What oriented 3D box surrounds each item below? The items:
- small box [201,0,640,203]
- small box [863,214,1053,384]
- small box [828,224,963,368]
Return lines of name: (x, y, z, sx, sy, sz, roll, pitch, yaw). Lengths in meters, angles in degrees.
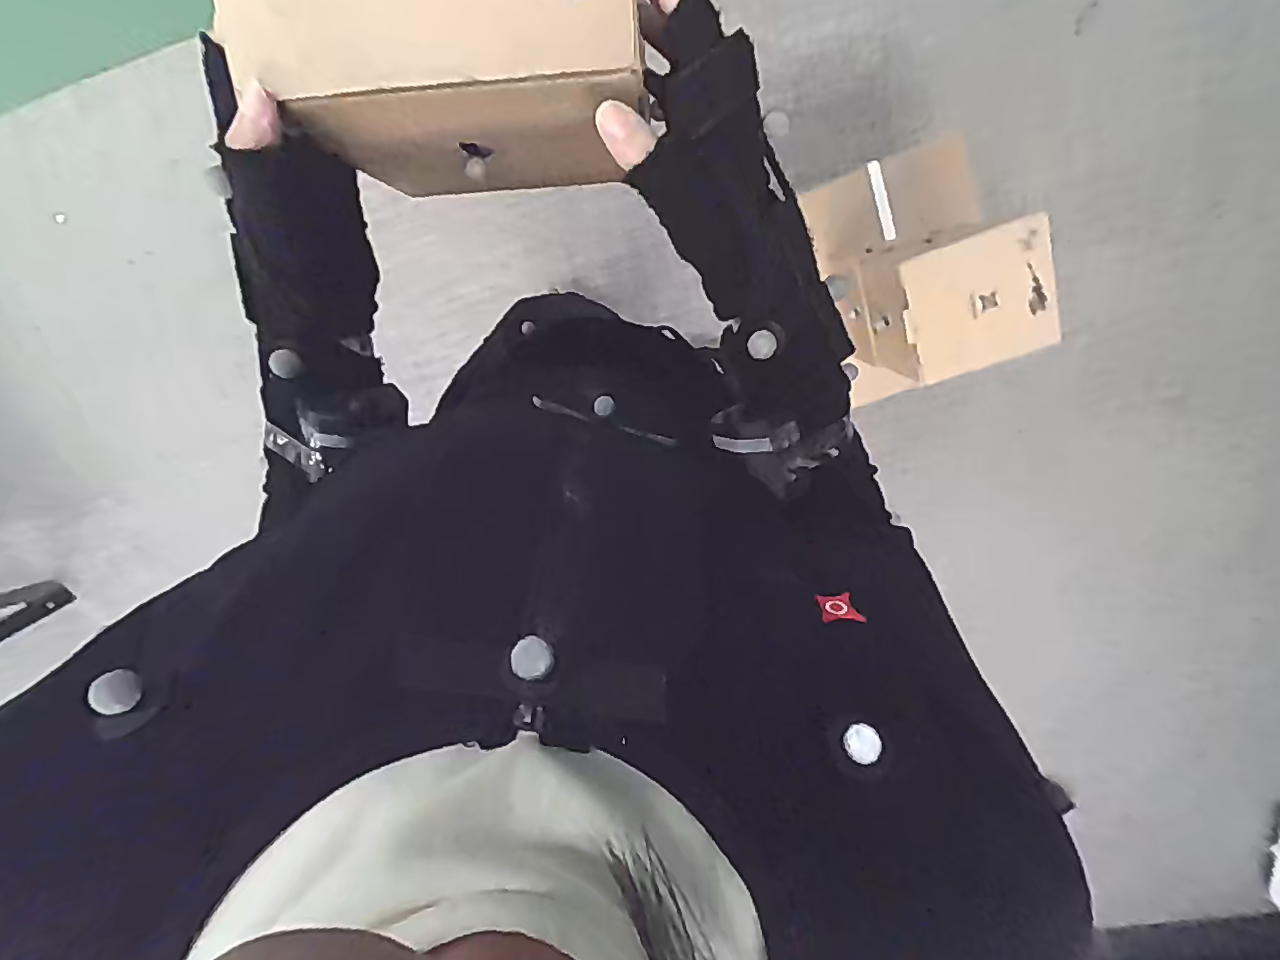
small box: (-0.095, -0.259, 0.281, 0.179, 0.176, 0.168, -6, 105, 3)
small box: (0.430, -0.251, 0.759, 0.179, 0.176, 0.168, -17, 109, 11)
small box: (0.432, -0.309, 0.912, 0.168, 0.176, 0.179, -17, 110, 11)
